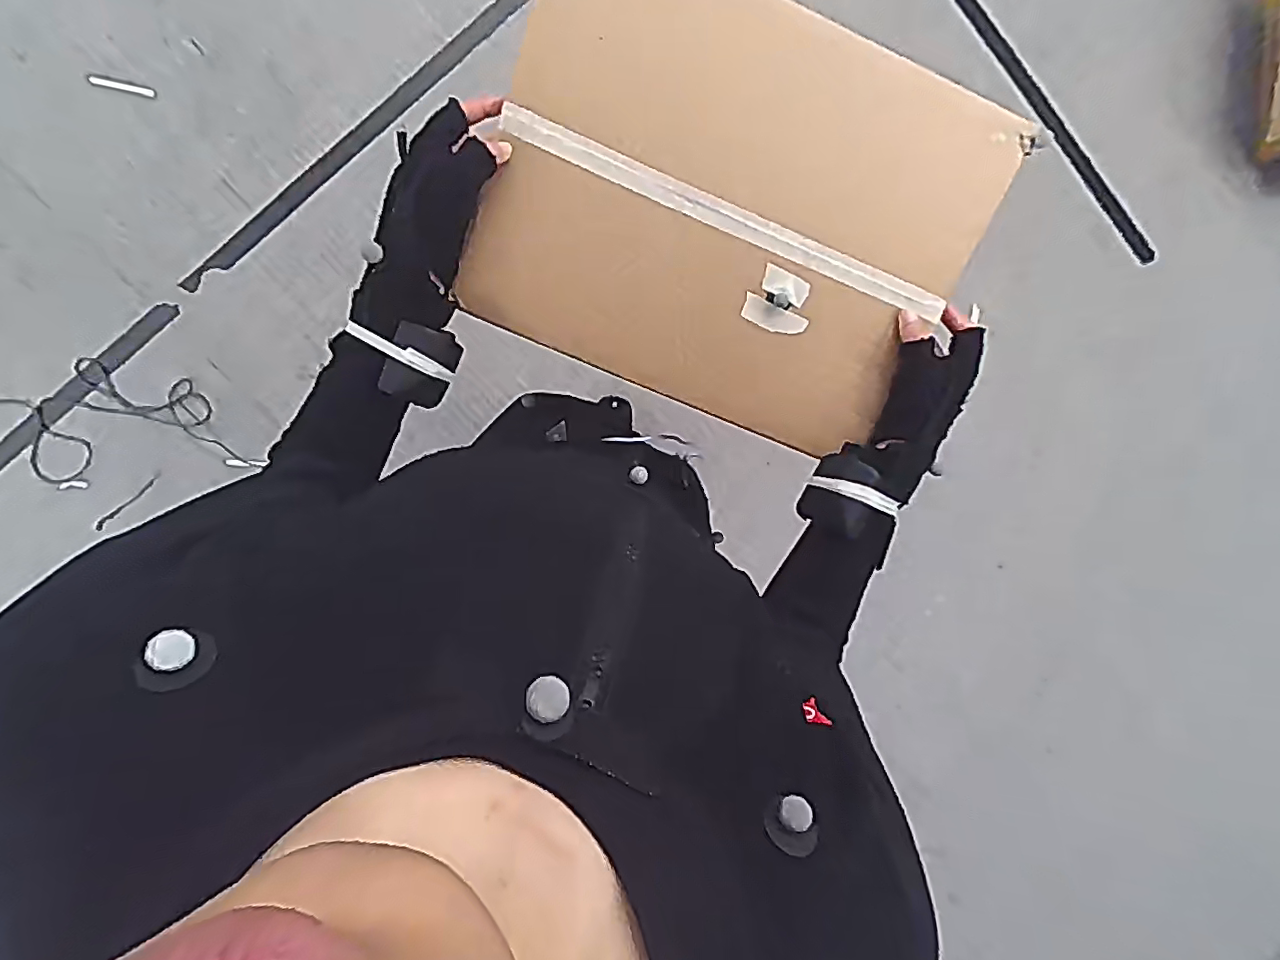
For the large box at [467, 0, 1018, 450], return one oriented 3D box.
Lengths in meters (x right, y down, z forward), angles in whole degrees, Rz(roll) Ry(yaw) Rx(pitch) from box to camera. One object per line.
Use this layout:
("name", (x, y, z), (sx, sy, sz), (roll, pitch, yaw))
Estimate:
("large box", (0.078, -0.274, 0.613), (0.408, 0.320, 0.320), (22, 106, -7))
